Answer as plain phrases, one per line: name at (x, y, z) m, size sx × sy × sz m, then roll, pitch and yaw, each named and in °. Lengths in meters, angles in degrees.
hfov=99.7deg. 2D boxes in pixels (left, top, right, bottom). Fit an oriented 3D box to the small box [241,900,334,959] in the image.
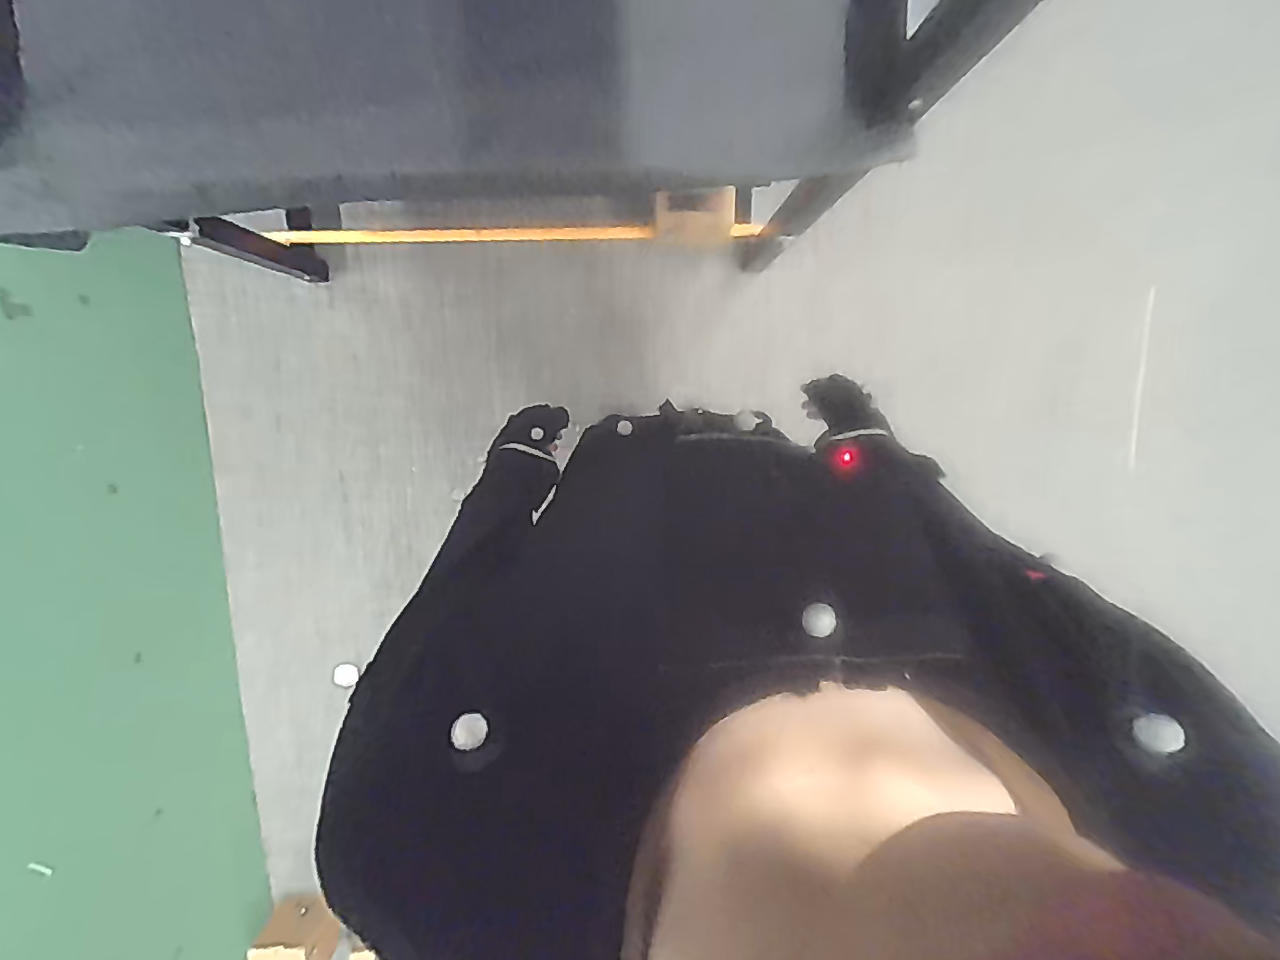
small box at (-1.030, 1.392, 1.596) m, size 0.168 × 0.176 × 0.179 m, roll -1°, pitch 98°, yaw -1°
